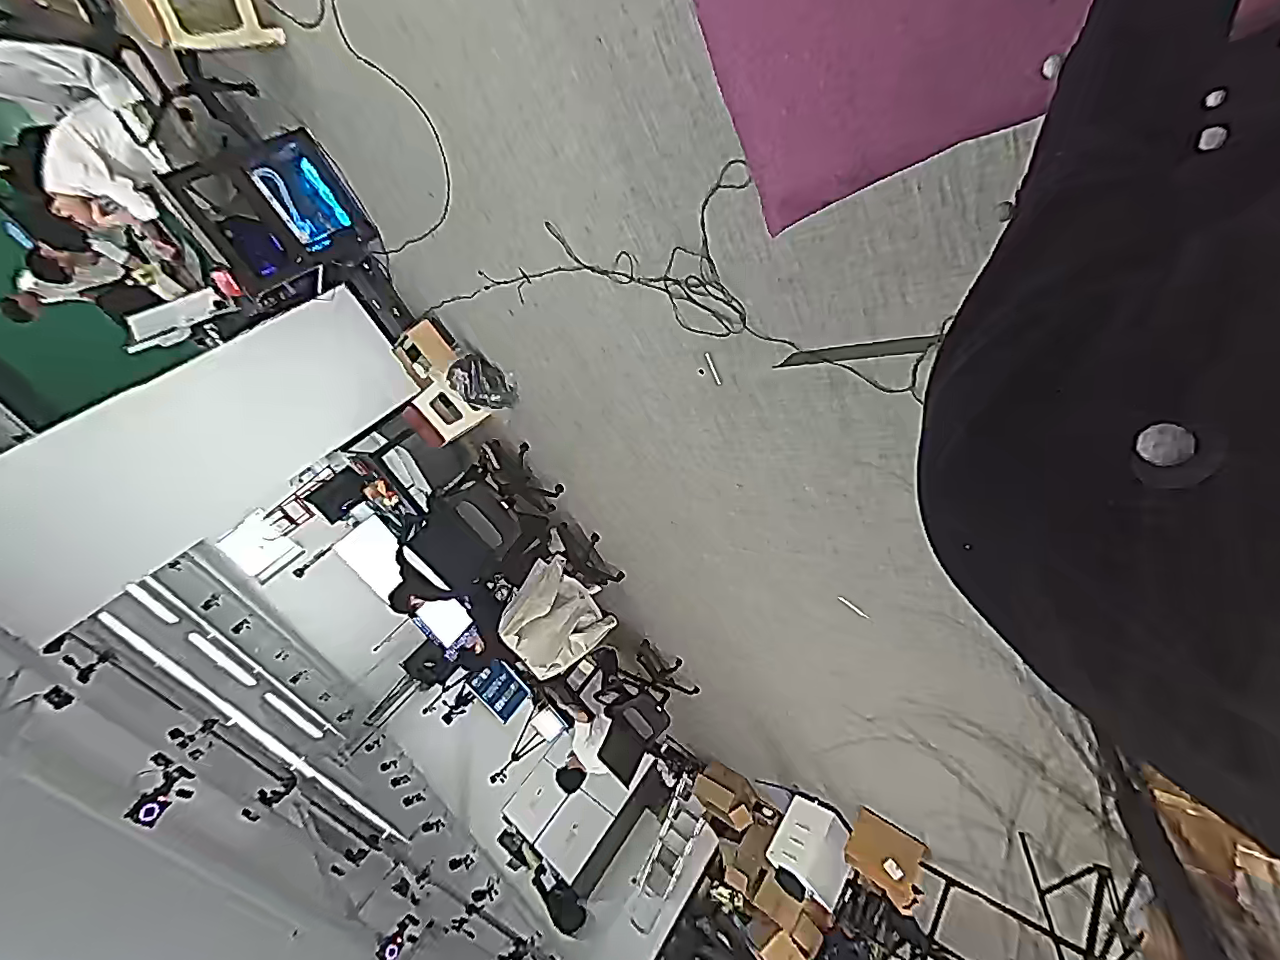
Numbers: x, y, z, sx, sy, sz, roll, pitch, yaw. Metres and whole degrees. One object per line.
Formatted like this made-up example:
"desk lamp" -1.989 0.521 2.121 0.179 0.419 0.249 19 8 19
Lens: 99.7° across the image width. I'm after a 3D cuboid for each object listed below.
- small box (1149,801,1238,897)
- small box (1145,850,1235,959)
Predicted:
"small box" 1.645 1.104 1.608 0.179 0.176 0.168 5 131 49
"small box" 1.546 1.199 1.520 0.168 0.176 0.179 5 131 48
